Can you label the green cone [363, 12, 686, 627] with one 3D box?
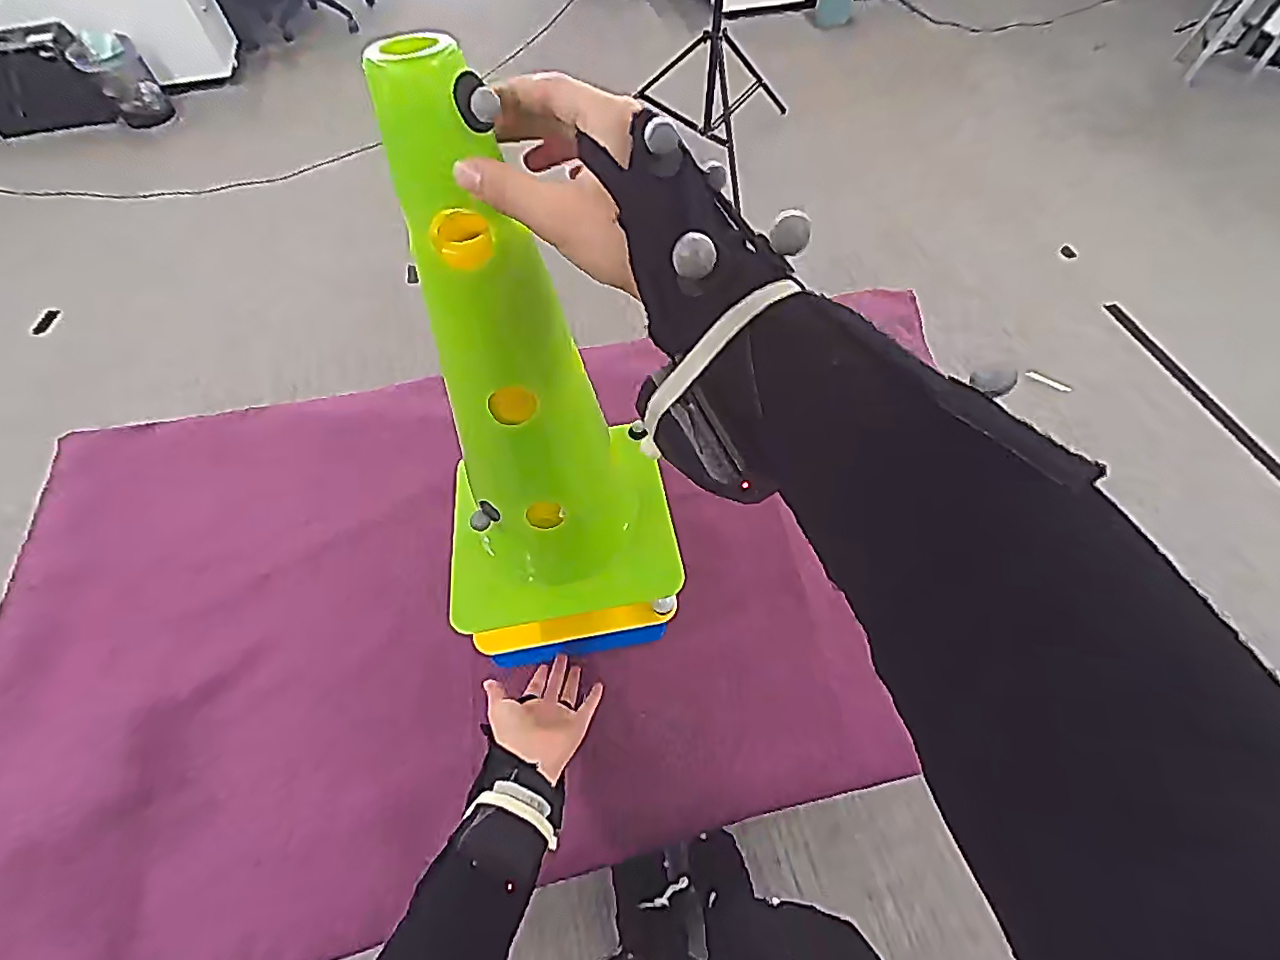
[{"bbox_3d":[-0.084,-0.076,0.361,0.200,0.368,0.202,-11,53,-3],"label":"green cone"}]
